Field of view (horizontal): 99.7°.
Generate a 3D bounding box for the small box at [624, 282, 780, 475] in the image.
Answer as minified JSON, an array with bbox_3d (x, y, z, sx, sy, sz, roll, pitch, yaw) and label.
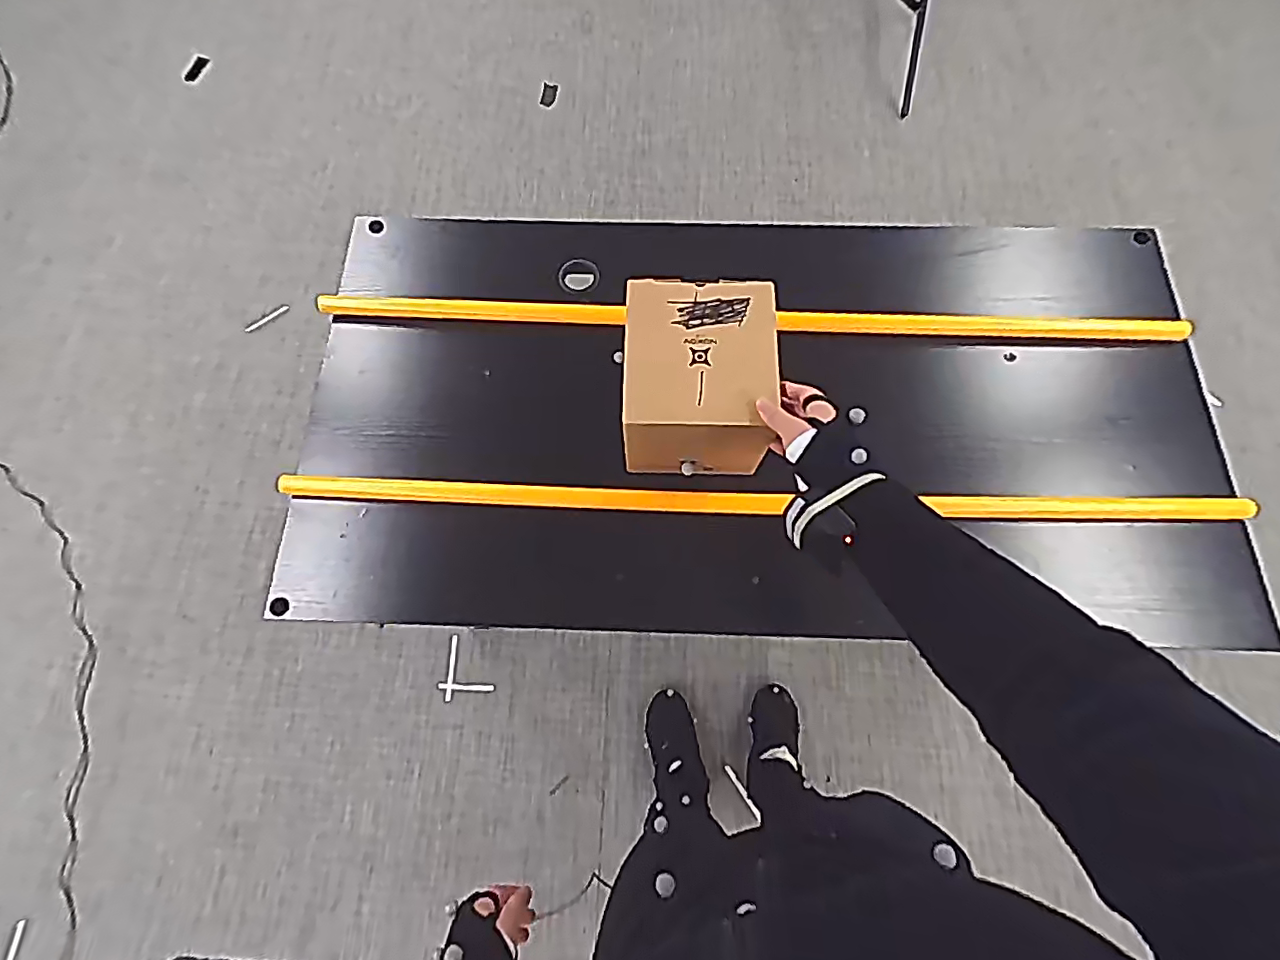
[{"bbox_3d":[0.067,-0.117,0.662,0.168,0.176,0.179,1,73,2],"label":"small box"}]
